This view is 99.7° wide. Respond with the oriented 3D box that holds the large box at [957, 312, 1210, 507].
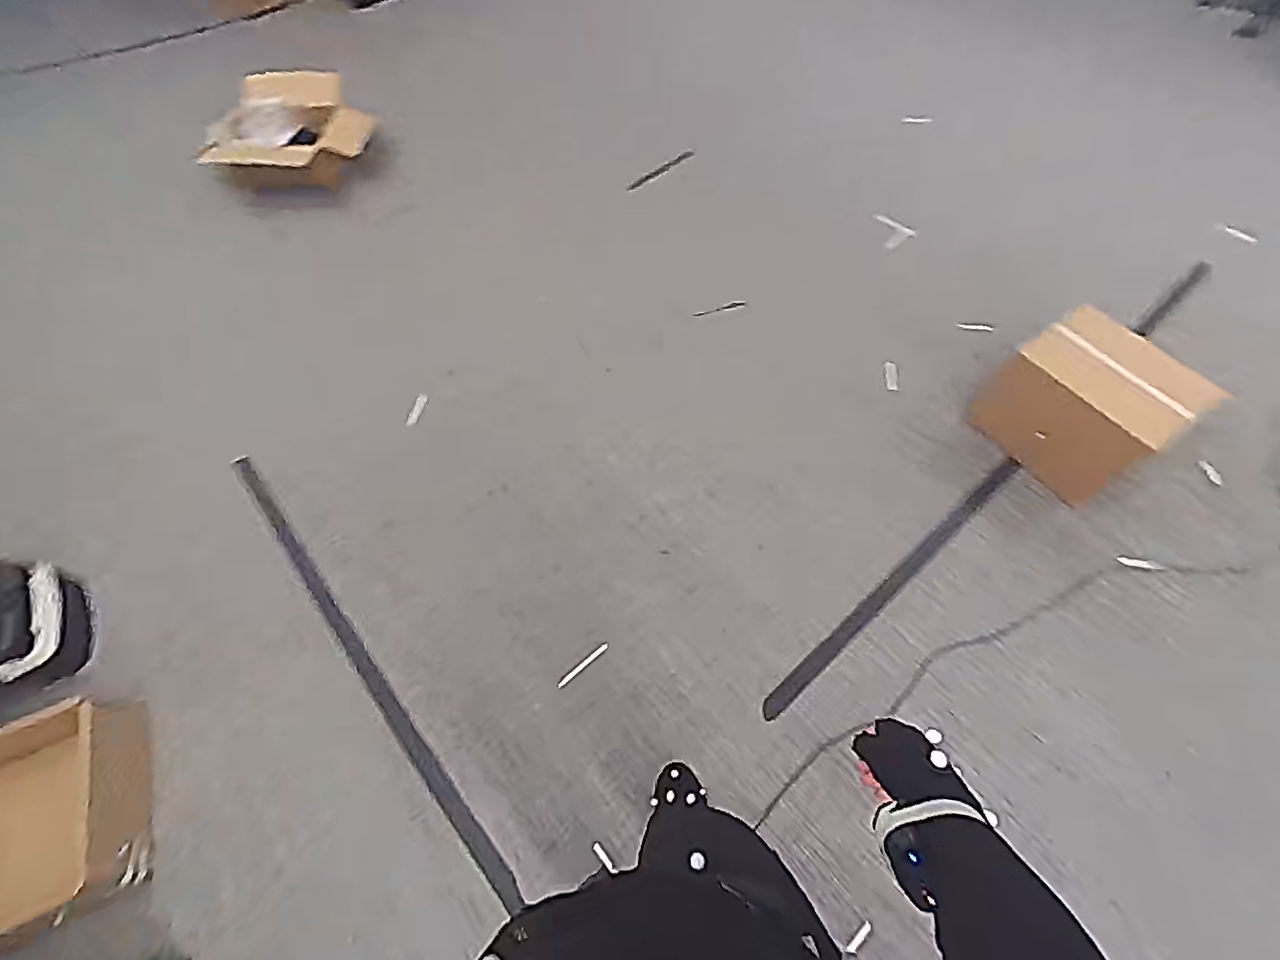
[{"bbox_3d":[1.247,-0.203,1.573,0.320,0.320,0.408,-31,65,-15],"label":"large box"}]
